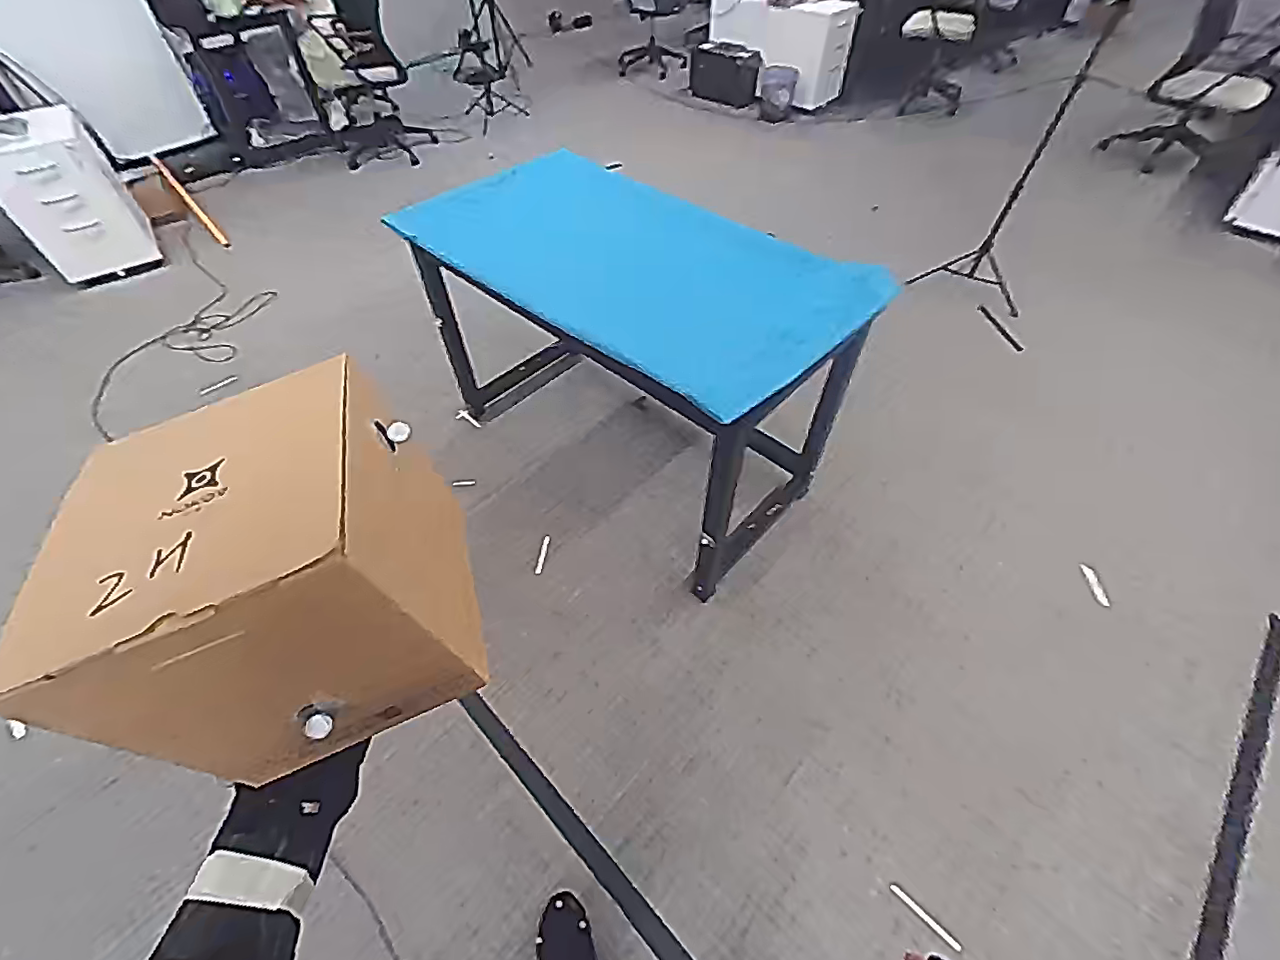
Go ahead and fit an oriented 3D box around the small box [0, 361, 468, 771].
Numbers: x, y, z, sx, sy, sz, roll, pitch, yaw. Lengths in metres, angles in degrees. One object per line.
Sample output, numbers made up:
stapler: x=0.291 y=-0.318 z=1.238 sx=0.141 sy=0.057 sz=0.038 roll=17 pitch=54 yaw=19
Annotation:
small box: x=-0.230 y=0.060 z=0.354 sx=0.168 sy=0.176 sz=0.179 roll=-21 pitch=51 yaw=-1
